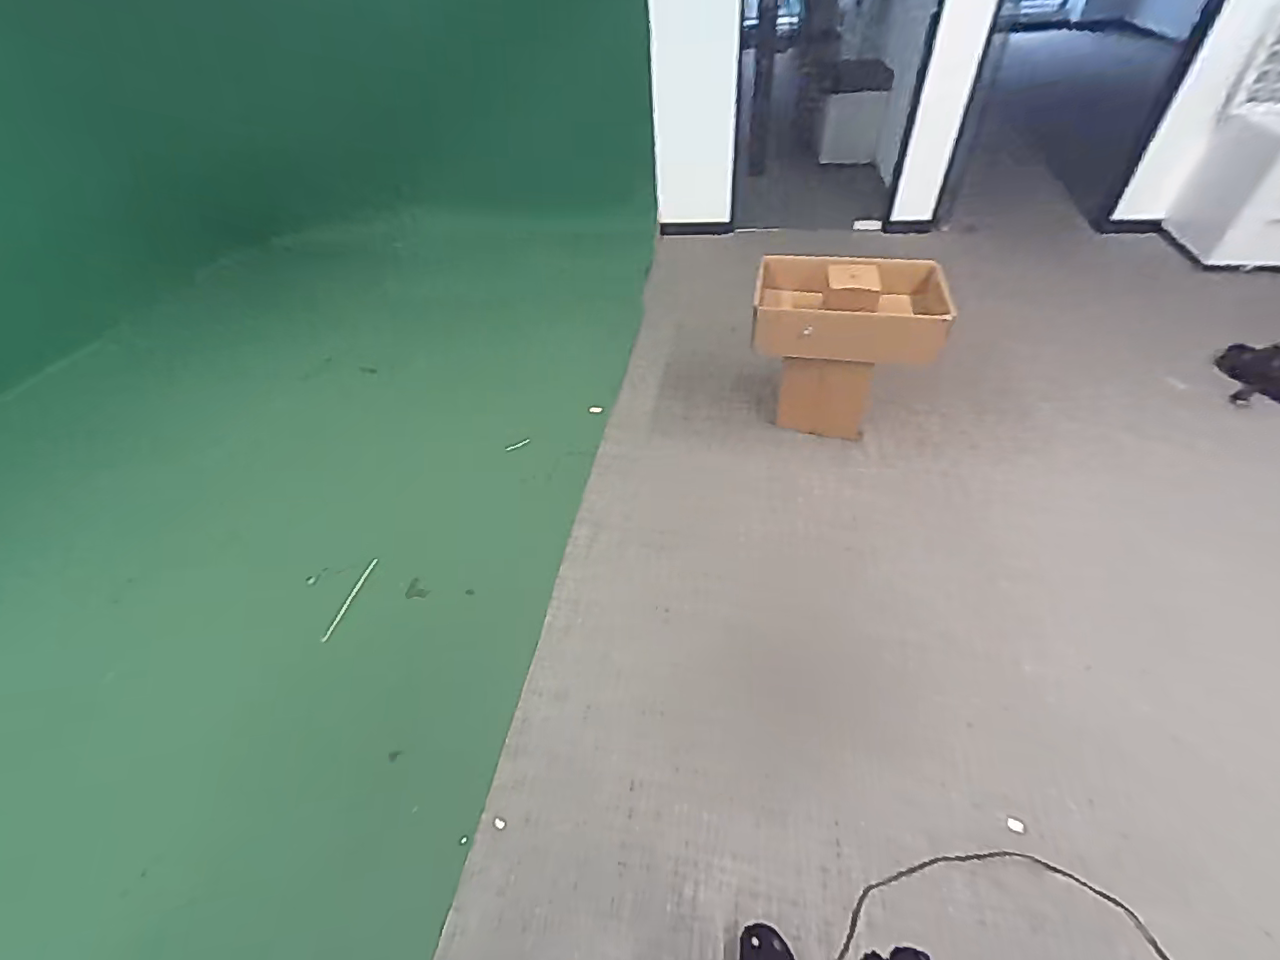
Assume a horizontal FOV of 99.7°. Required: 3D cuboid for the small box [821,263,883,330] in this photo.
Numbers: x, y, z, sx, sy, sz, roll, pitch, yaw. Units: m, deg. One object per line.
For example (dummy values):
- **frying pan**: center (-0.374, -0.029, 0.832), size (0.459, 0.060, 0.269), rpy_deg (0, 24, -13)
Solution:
- **small box**: center (0.734, -0.639, 1.883), size (0.168, 0.176, 0.179), rpy_deg (5, 45, 9)
